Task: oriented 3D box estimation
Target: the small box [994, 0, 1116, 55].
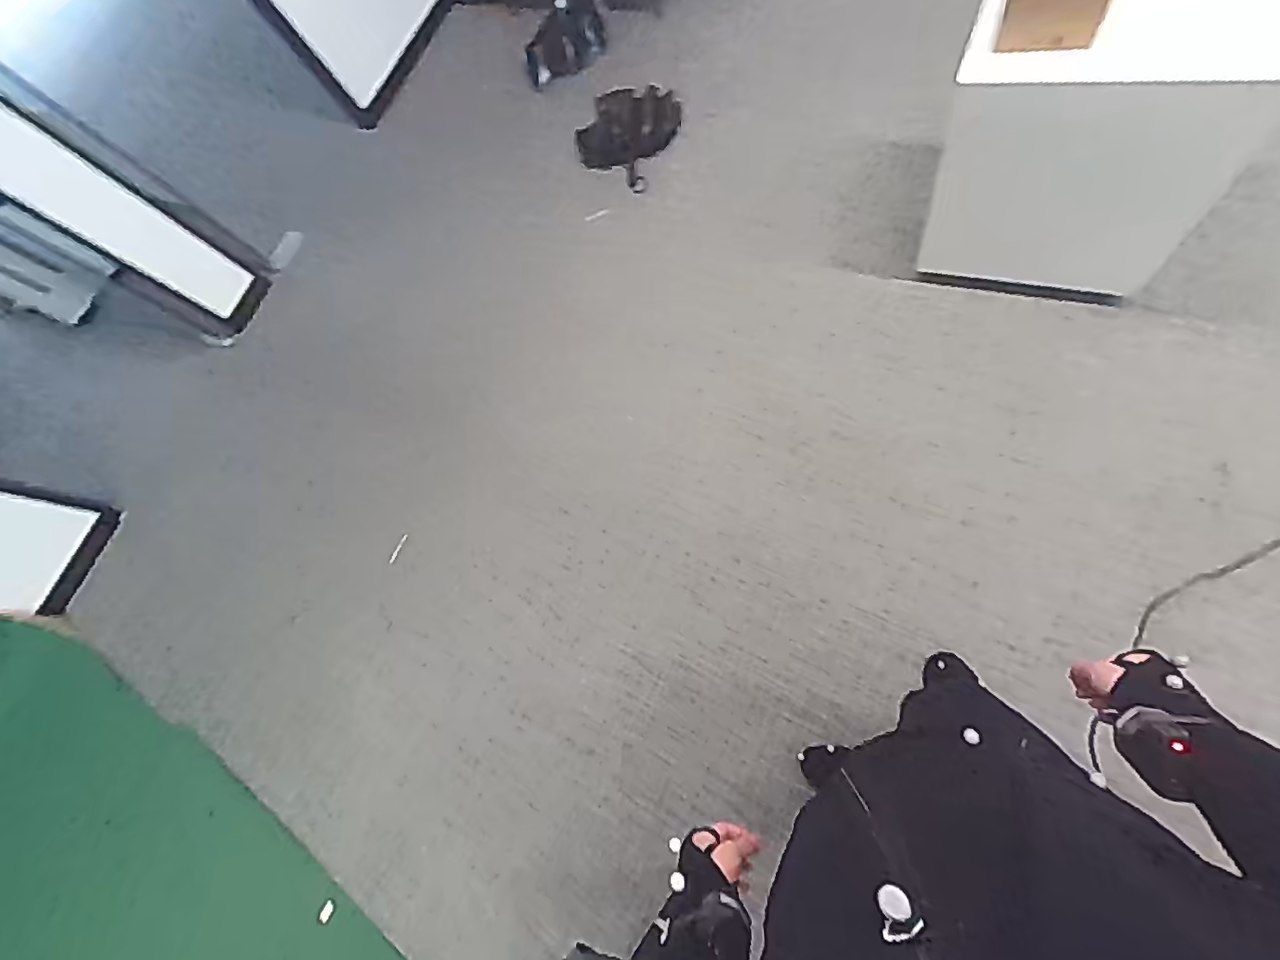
[{"bbox_3d":[0.750,-0.893,0.948,0.168,0.176,0.179,16,77,23],"label":"small box"}]
